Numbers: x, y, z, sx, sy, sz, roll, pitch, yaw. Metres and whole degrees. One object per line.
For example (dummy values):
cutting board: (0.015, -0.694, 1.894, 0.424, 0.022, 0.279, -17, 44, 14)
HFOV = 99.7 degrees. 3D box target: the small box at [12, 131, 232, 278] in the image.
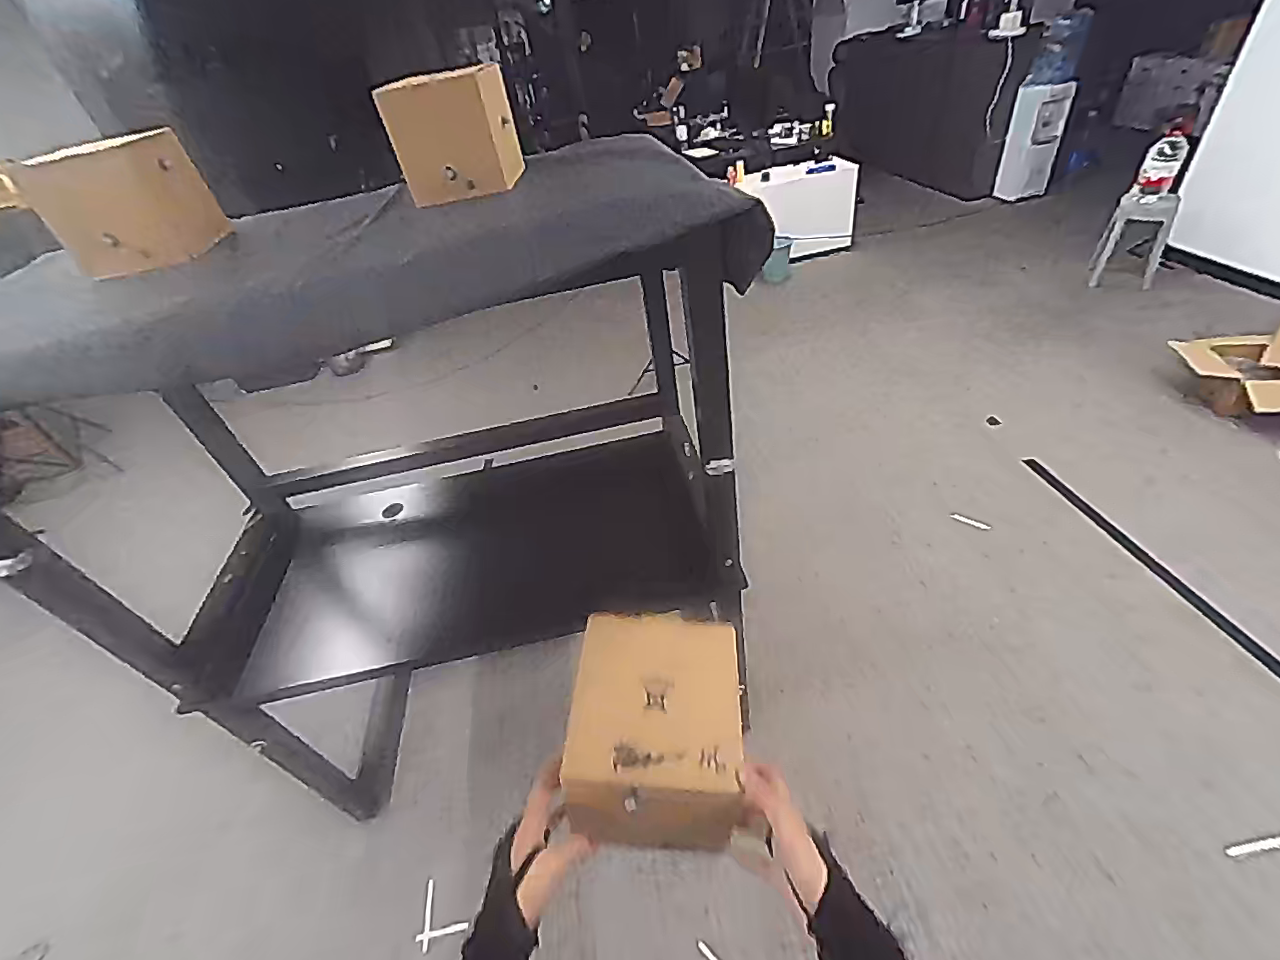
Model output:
small box: (-0.825, -0.453, 0.891, 0.168, 0.176, 0.179, -14, 41, -3)

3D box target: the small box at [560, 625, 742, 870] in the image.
small box: (0.015, 0.286, 0.588, 0.168, 0.176, 0.179, 4, 38, 4)
